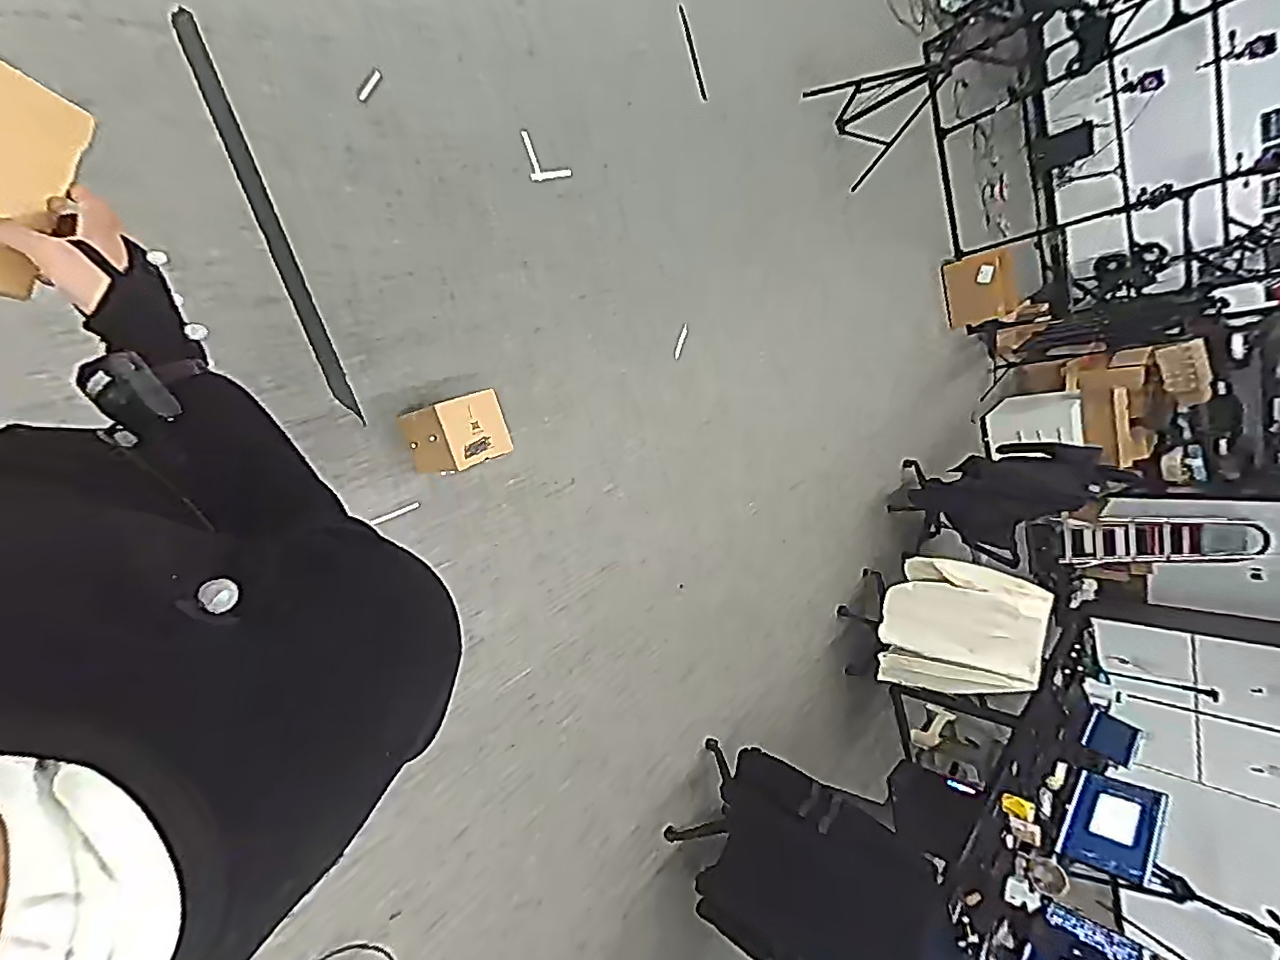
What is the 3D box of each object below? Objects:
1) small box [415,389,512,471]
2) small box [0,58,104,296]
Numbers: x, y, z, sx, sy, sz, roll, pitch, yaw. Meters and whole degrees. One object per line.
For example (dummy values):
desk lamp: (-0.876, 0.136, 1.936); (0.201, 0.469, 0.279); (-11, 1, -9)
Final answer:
small box: (-0.473, -0.130, 1.441); (0.168, 0.176, 0.179); (-26, 105, -36)
small box: (-0.577, -0.258, 0.406); (0.179, 0.176, 0.168); (25, 81, -64)
